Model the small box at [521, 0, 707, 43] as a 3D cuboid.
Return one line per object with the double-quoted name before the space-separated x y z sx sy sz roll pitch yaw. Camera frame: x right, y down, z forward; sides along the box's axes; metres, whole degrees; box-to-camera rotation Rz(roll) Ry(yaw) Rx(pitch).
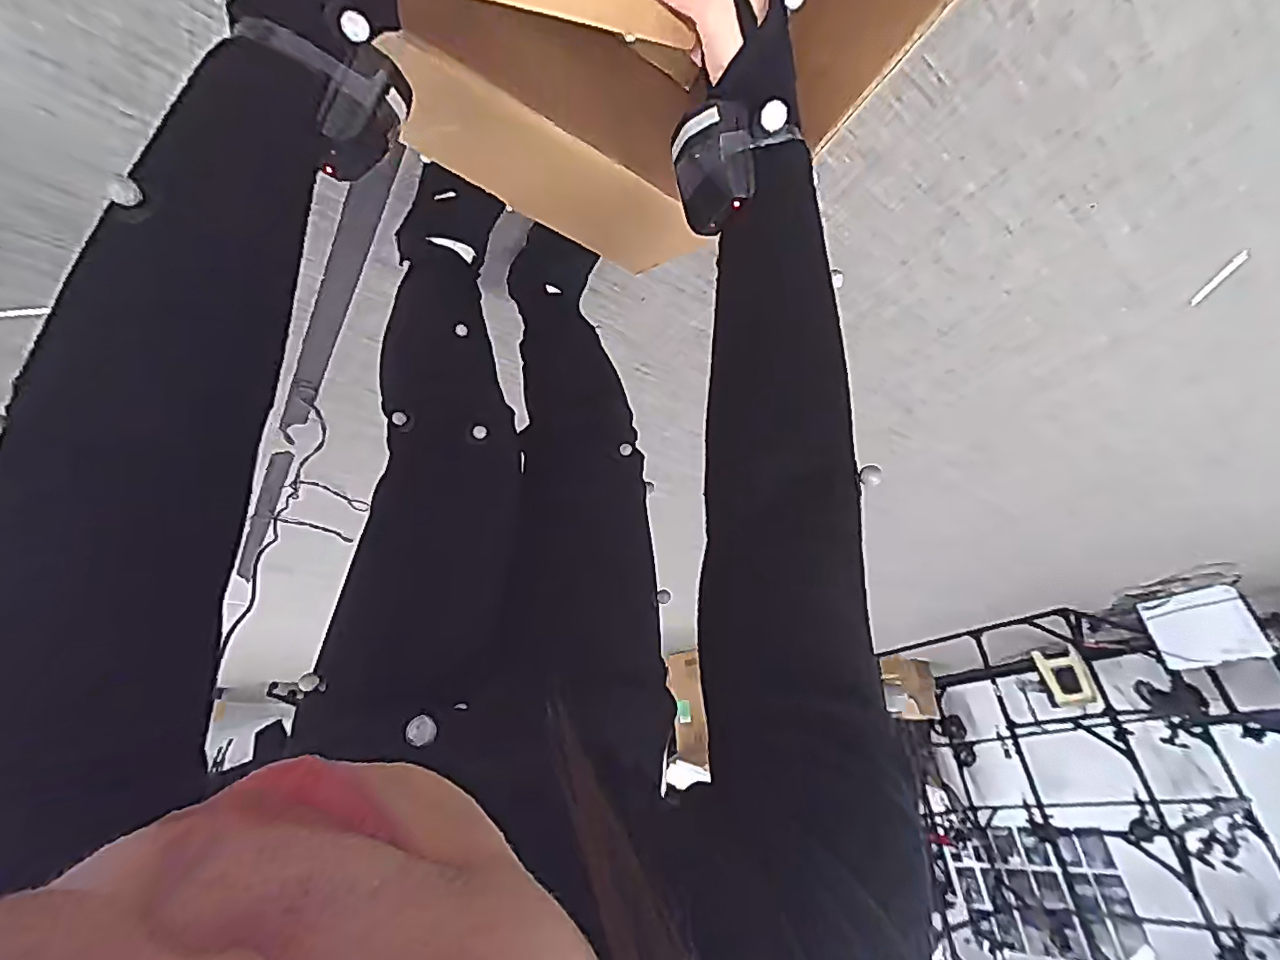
"small box" -0.035 -0.408 0.313 0.179 0.176 0.168 0 153 -17
